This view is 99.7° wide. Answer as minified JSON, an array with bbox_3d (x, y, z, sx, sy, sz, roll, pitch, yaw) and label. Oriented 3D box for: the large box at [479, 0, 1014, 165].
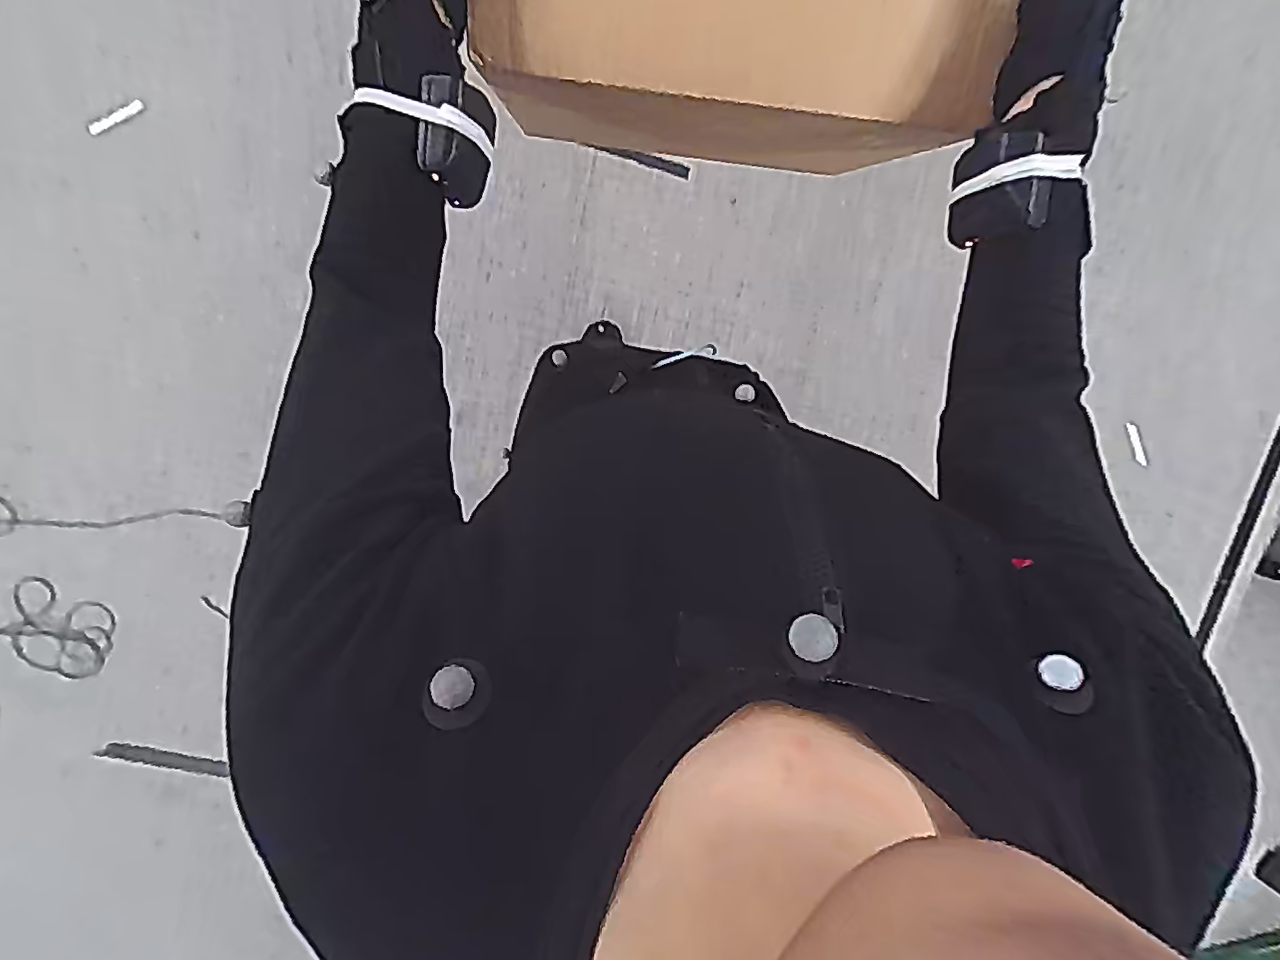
[{"bbox_3d":[0.080,-0.500,0.491,0.408,0.320,0.320,4,114,-7],"label":"large box"}]
